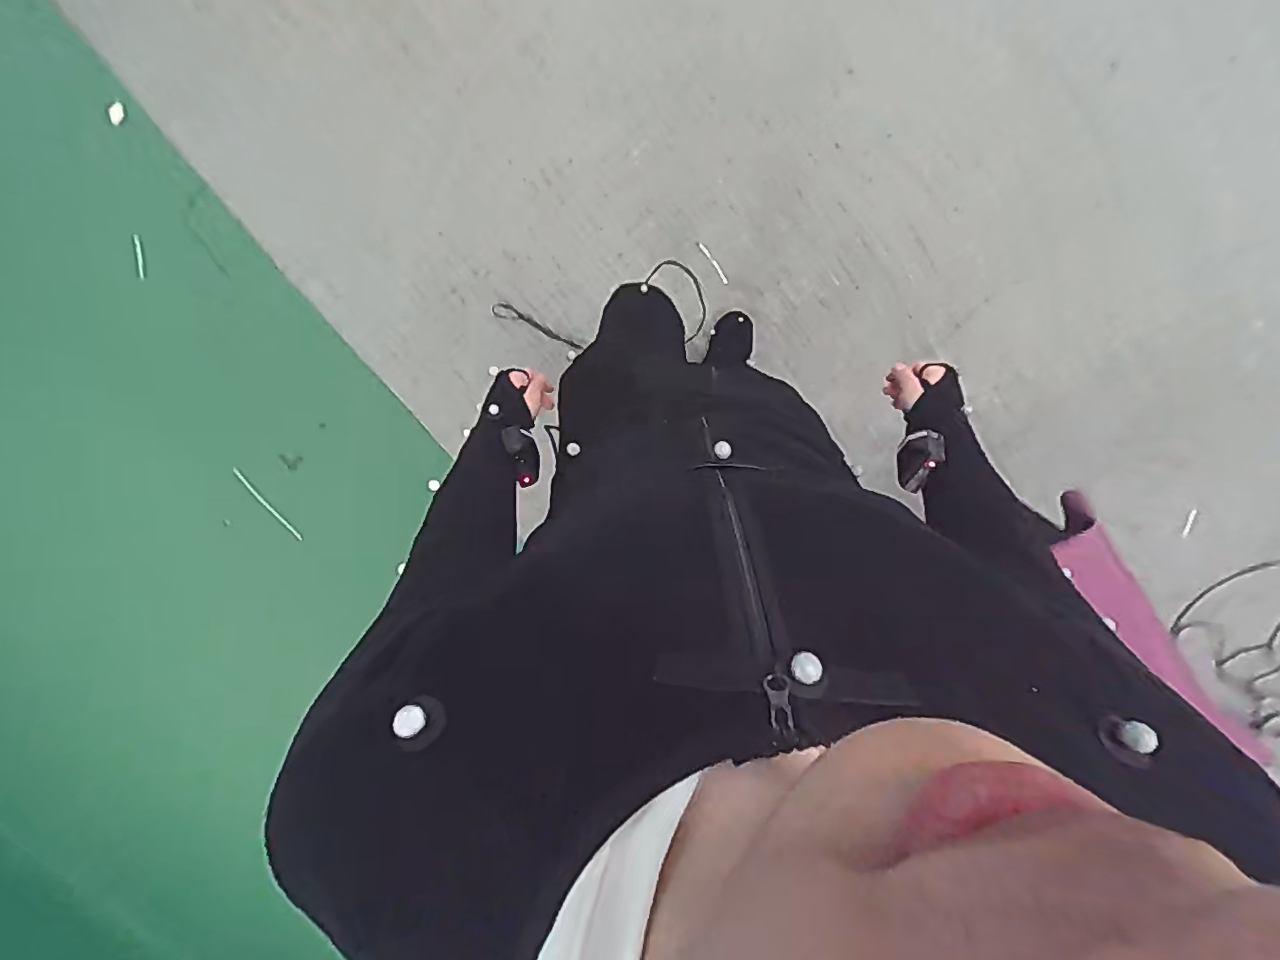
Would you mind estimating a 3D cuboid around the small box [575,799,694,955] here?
[{"bbox_3d":[-0.004,0.798,1.096,0.168,0.176,0.179,-34,103,15],"label":"small box"}]
